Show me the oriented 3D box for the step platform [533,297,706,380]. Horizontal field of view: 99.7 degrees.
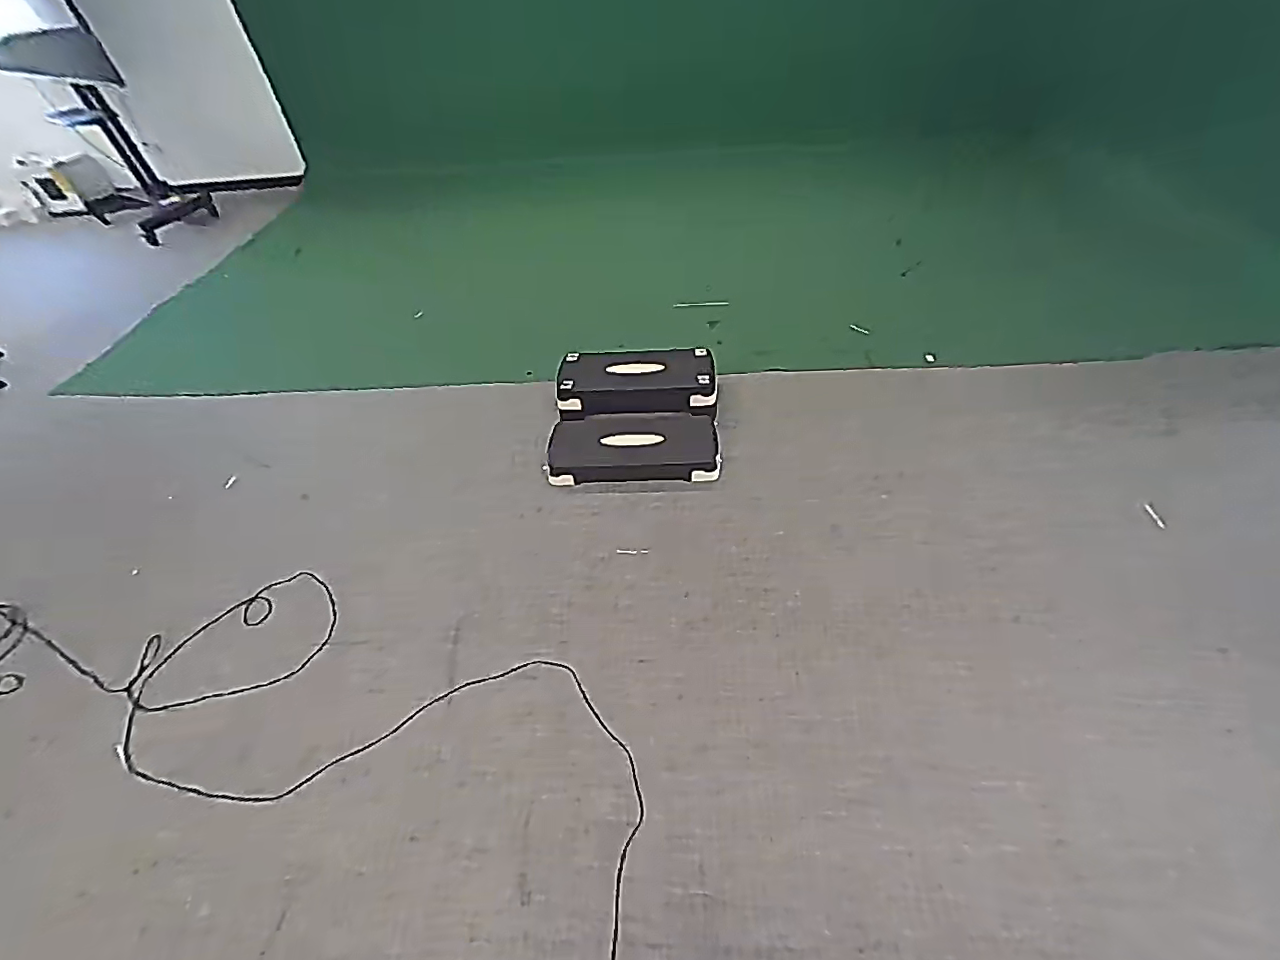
[{"bbox_3d":[-0.076,-0.574,2.202,0.684,0.204,0.286,-2,47,4],"label":"step platform"}]
